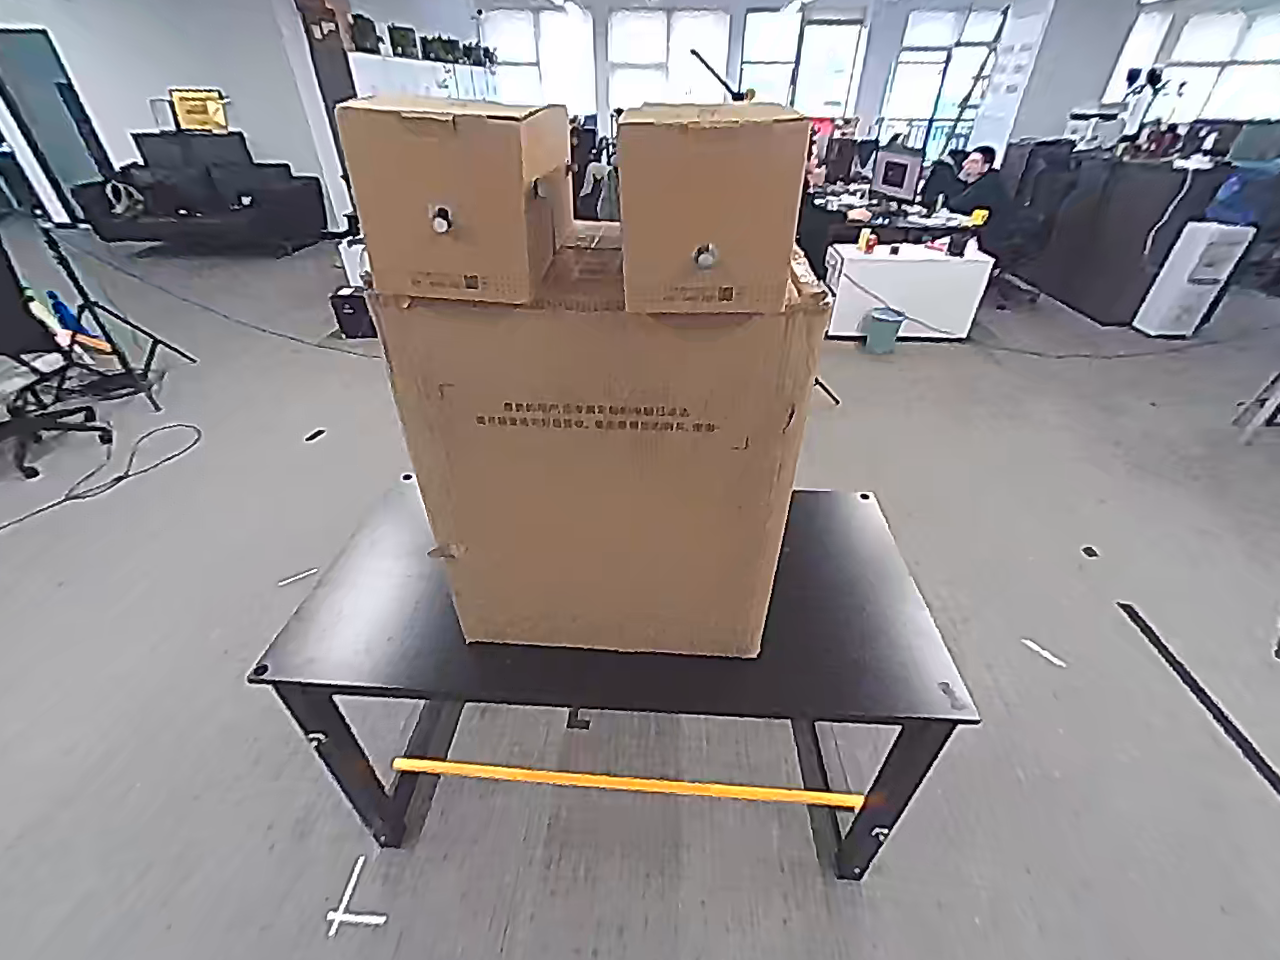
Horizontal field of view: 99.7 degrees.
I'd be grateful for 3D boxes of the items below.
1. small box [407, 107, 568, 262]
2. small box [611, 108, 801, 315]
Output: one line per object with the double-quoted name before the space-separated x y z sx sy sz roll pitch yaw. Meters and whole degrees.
"small box" -0.194 -0.412 0.750 0.168 0.176 0.179 1 35 1
"small box" 0.062 -0.287 0.575 0.168 0.176 0.179 0 38 3
